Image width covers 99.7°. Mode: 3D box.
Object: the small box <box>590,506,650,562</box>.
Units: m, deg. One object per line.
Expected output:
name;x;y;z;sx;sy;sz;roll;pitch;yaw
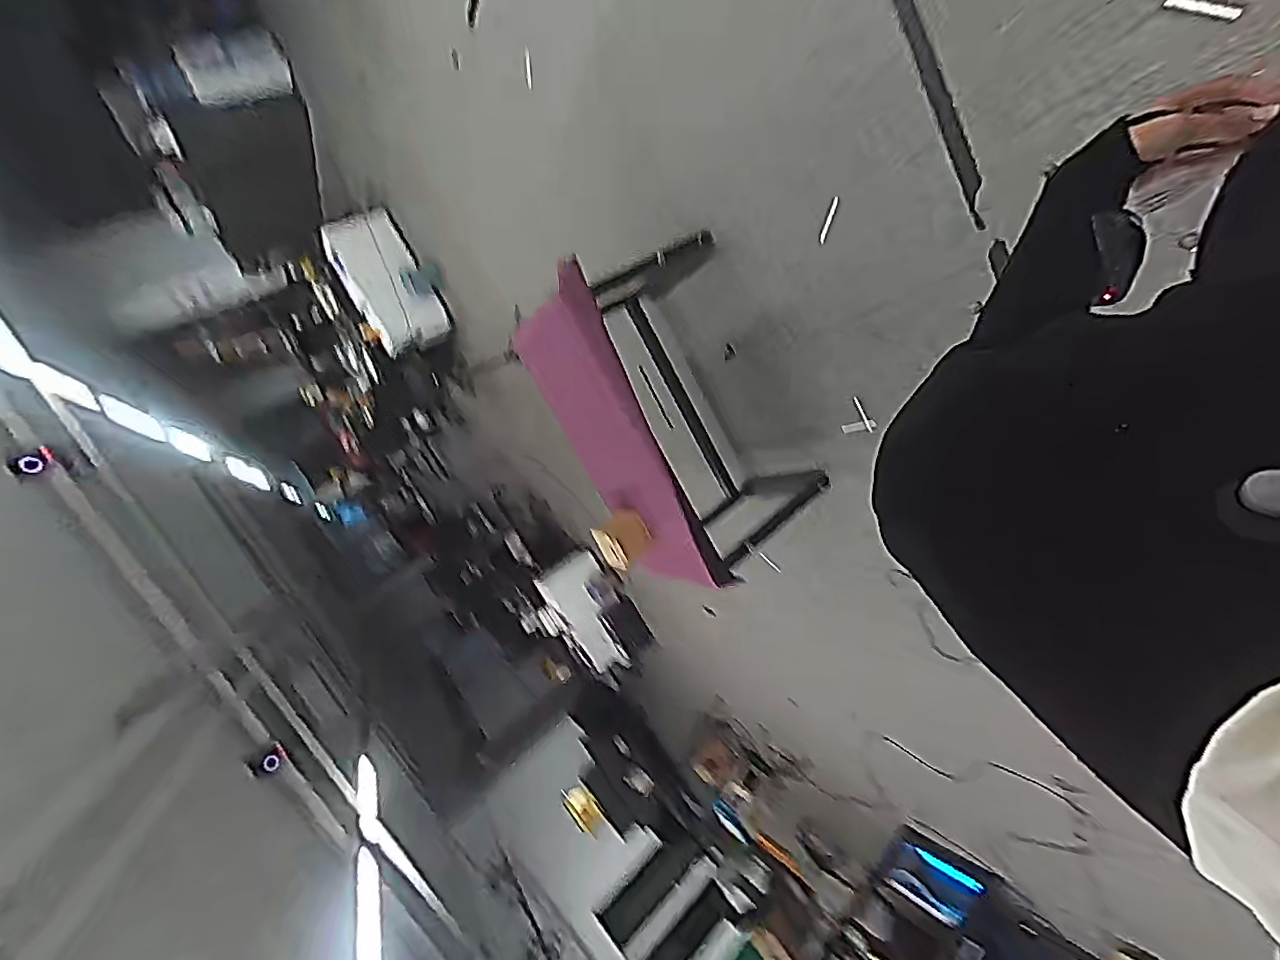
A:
small box;-0.078;0.223;2.304;0.179;0.176;0.168;3;124;59
